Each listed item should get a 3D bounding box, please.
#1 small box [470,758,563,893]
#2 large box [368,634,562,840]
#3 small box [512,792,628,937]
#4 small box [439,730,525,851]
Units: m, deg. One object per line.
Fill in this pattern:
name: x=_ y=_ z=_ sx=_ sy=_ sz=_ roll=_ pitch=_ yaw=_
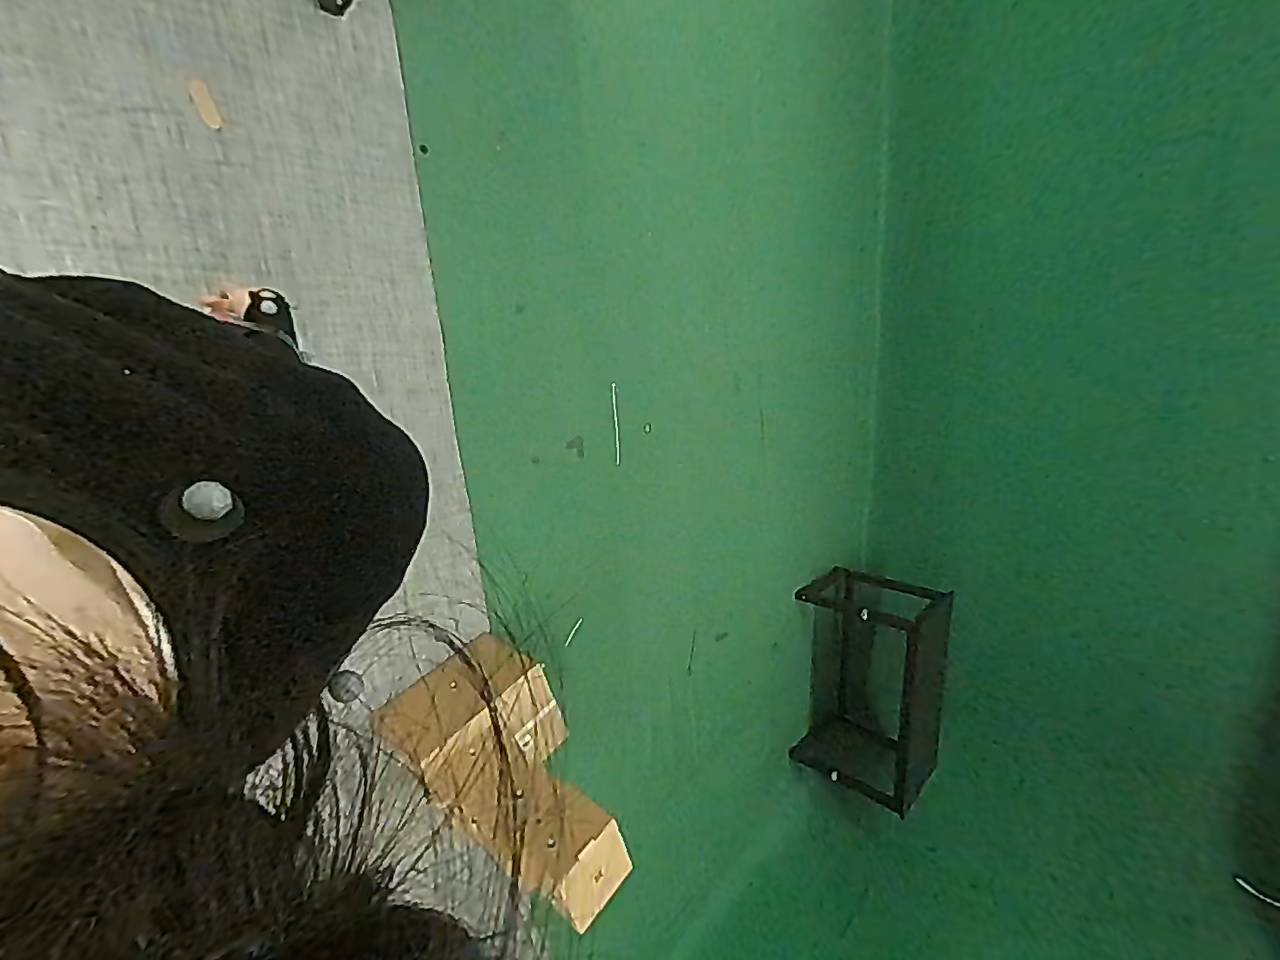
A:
small box: x=-0.282 y=0.816 z=1.294 sx=0.179 sy=0.176 sz=0.168 roll=-35 pitch=121 yaw=-39
large box: x=-0.516 y=0.746 z=1.633 sx=0.408 sy=0.320 sz=0.320 roll=-35 pitch=122 yaw=-38
small box: x=-0.155 y=0.830 z=1.191 sx=0.168 sy=0.176 sz=0.179 roll=-33 pitch=120 yaw=-38
small box: x=-0.400 y=0.798 z=1.407 sx=0.179 sy=0.176 sz=0.168 roll=-29 pitch=117 yaw=-39
